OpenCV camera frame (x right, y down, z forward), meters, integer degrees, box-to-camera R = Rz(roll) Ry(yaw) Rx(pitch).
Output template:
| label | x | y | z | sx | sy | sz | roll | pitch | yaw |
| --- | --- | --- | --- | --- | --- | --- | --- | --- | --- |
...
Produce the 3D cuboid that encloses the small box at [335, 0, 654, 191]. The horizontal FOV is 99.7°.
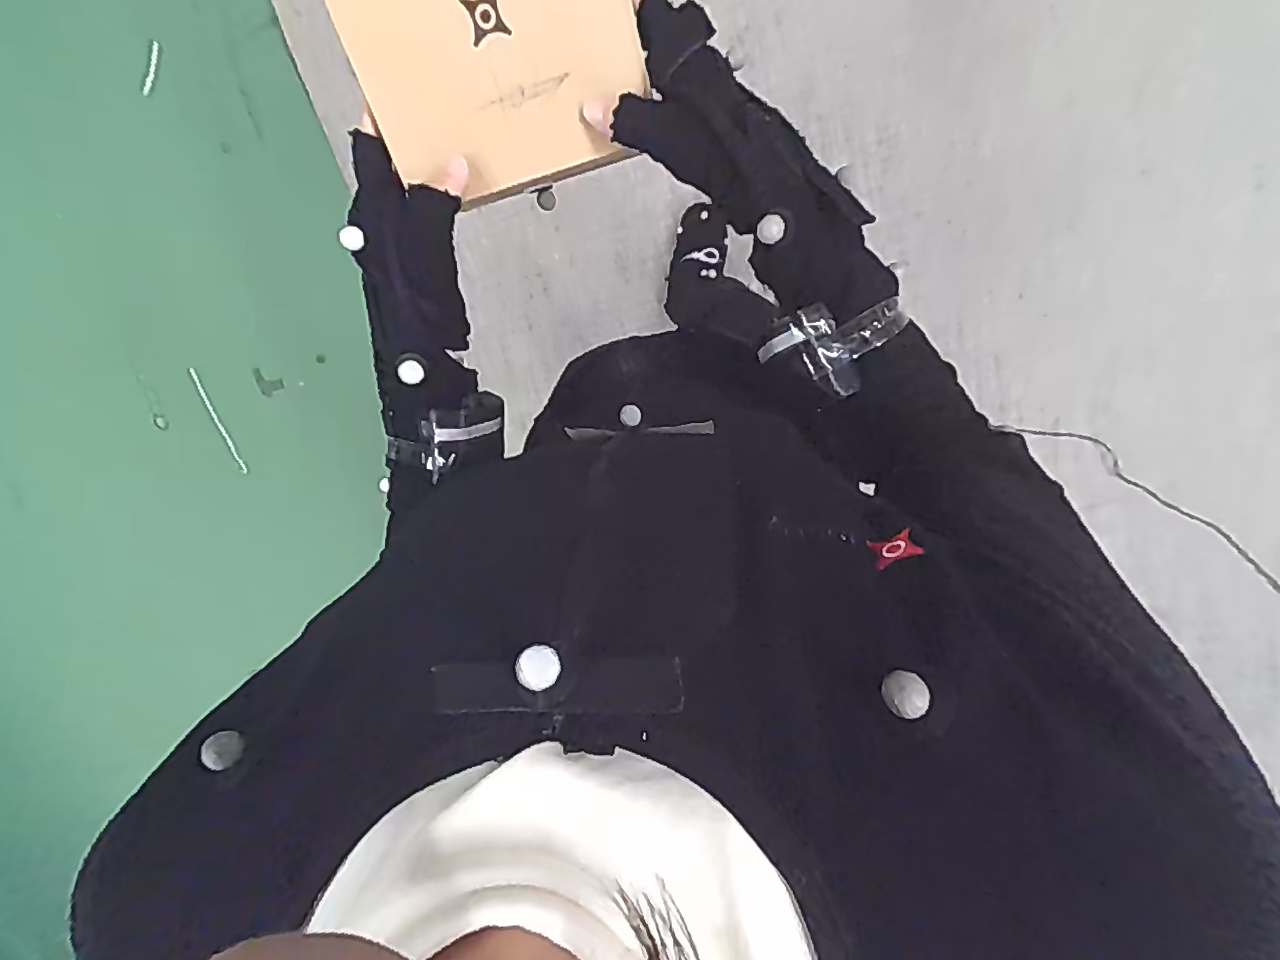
| label | x | y | z | sx | sy | sz | roll | pitch | yaw |
| --- | --- | --- | --- | --- | --- | --- | --- | --- | --- |
| small box | -0.094 | -0.316 | 0.374 | 0.168 | 0.176 | 0.179 | -15 | 118 | 5 |
